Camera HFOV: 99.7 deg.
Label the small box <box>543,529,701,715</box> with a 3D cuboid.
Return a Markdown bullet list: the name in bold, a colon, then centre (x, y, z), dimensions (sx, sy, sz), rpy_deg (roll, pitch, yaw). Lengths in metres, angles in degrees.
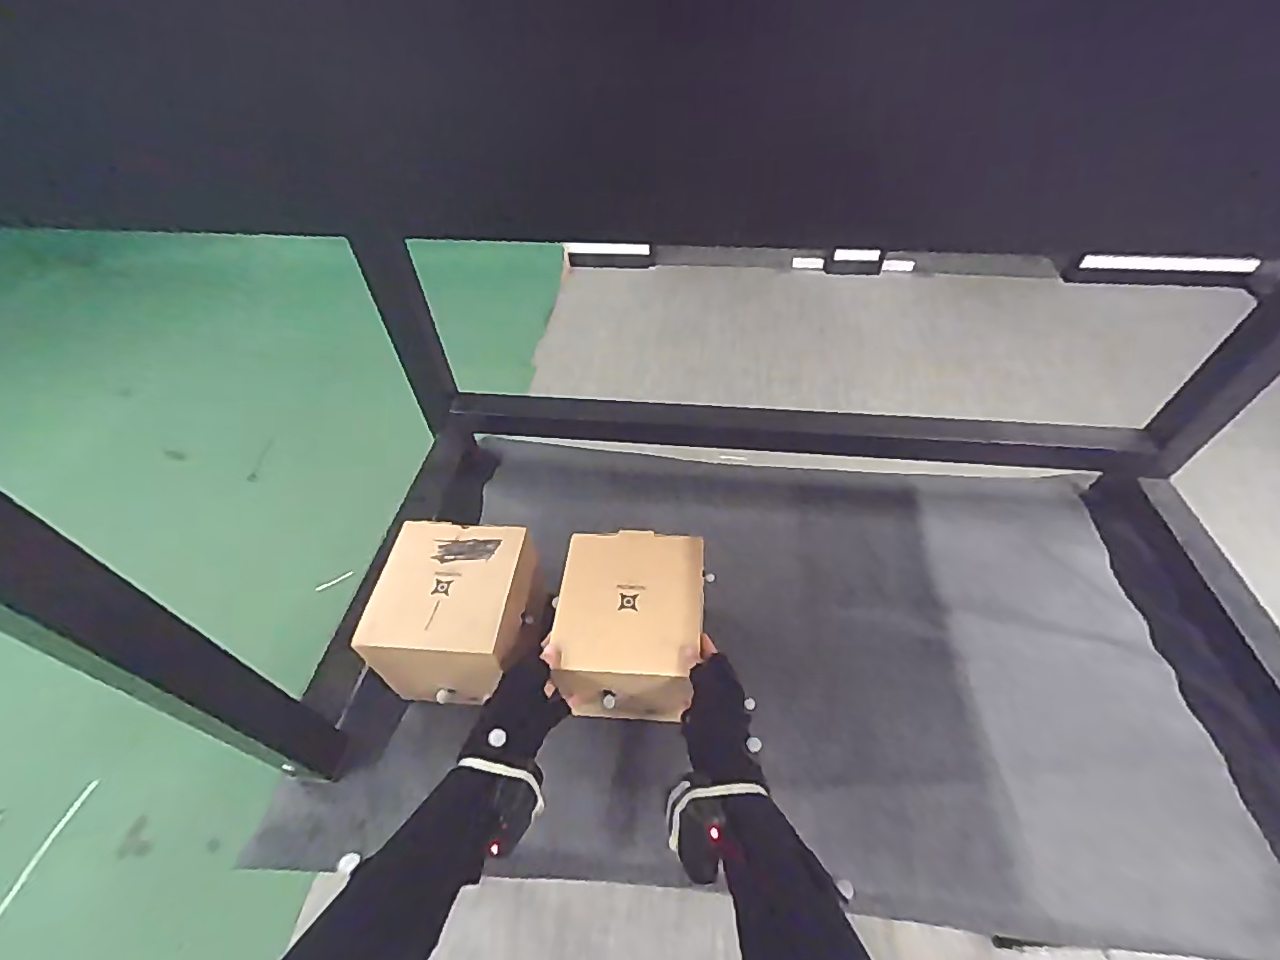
- **small box**: centre (-0.008, 0.180, 0.678), dimensions (0.168, 0.176, 0.179), rpy_deg (0, 49, 7)

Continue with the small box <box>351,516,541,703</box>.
- **small box**: centre (-0.234, 0.170, 0.710), dimensions (0.168, 0.176, 0.179), rpy_deg (2, 48, 4)
